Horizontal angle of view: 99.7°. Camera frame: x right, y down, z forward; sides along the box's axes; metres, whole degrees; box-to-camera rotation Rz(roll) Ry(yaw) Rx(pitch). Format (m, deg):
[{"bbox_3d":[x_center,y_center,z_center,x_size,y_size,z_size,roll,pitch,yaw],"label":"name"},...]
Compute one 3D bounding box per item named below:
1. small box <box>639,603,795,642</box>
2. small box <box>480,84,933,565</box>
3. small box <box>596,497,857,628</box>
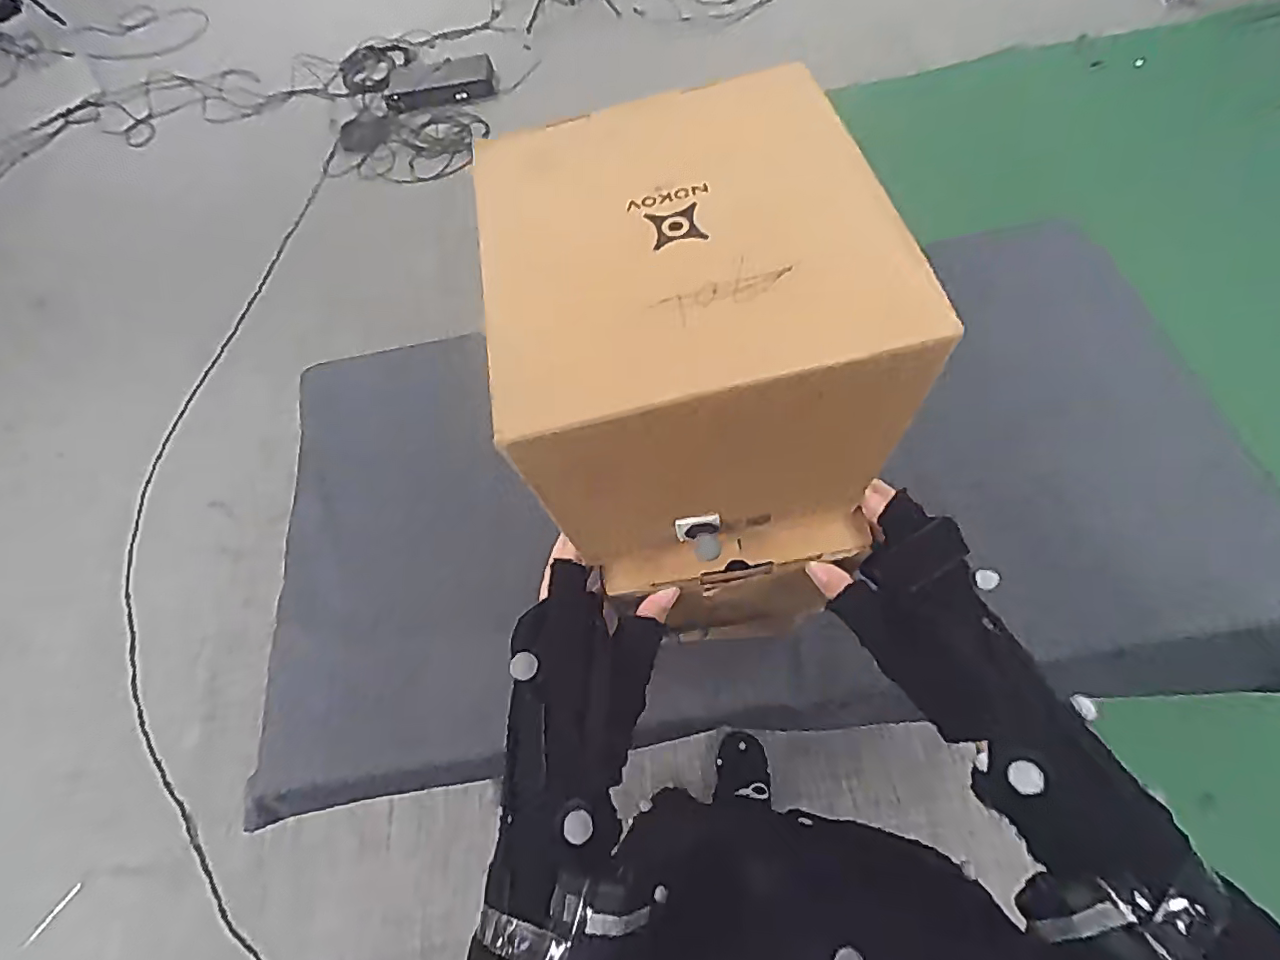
[{"bbox_3d":[0.073,0.074,0.598,0.179,0.176,0.168,-8,62,3],"label":"small box"},{"bbox_3d":[0.023,-0.071,0.307,0.168,0.176,0.179,-14,64,2],"label":"small box"},{"bbox_3d":[0.052,0.015,0.442,0.168,0.176,0.179,-13,64,2],"label":"small box"}]
